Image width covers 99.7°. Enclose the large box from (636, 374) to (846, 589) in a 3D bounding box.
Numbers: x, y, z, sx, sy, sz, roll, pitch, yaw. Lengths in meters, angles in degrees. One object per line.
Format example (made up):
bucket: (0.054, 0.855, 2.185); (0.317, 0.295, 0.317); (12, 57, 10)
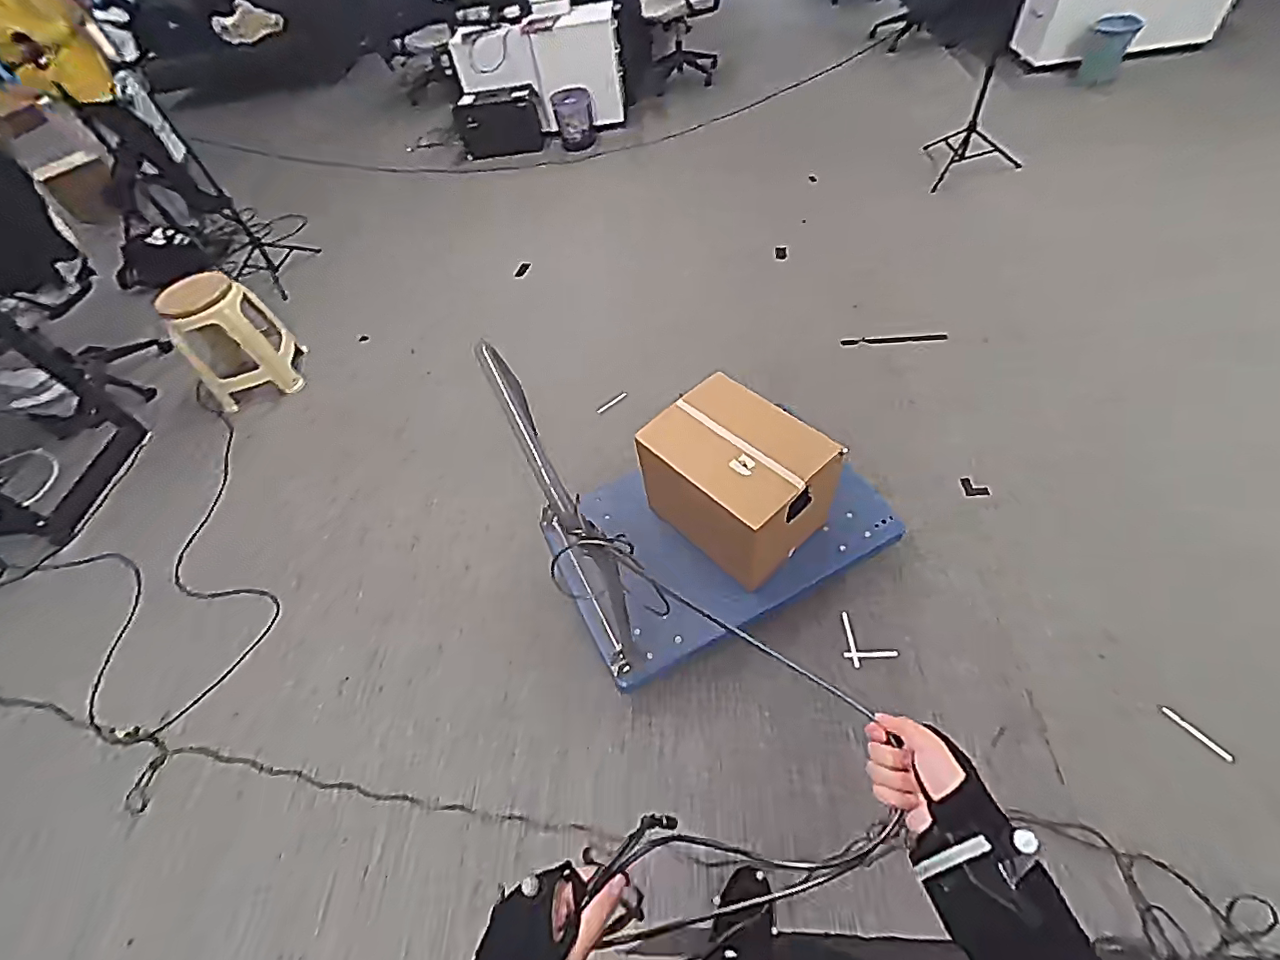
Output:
large box: (0.246, 0.001, 1.405); (0.320, 0.320, 0.408); (-39, 58, -18)
